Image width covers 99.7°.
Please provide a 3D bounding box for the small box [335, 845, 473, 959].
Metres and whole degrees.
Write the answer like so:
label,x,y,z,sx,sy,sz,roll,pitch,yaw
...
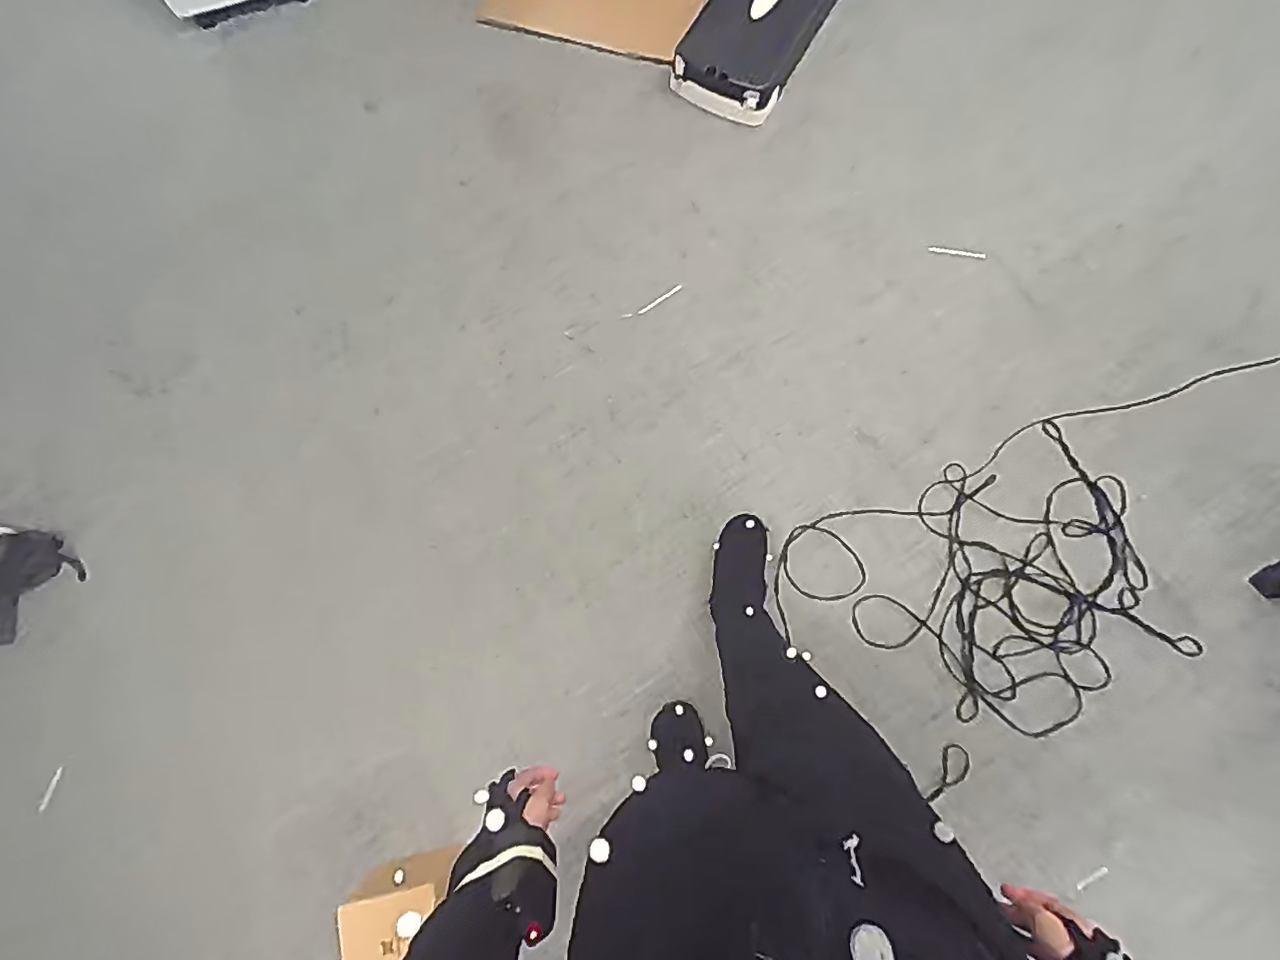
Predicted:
label,x,y,z,sx,sy,sz,roll,pitch,yaw
small box,-0.434,0.821,1.011,0.179,0.176,0.168,-13,77,-1
